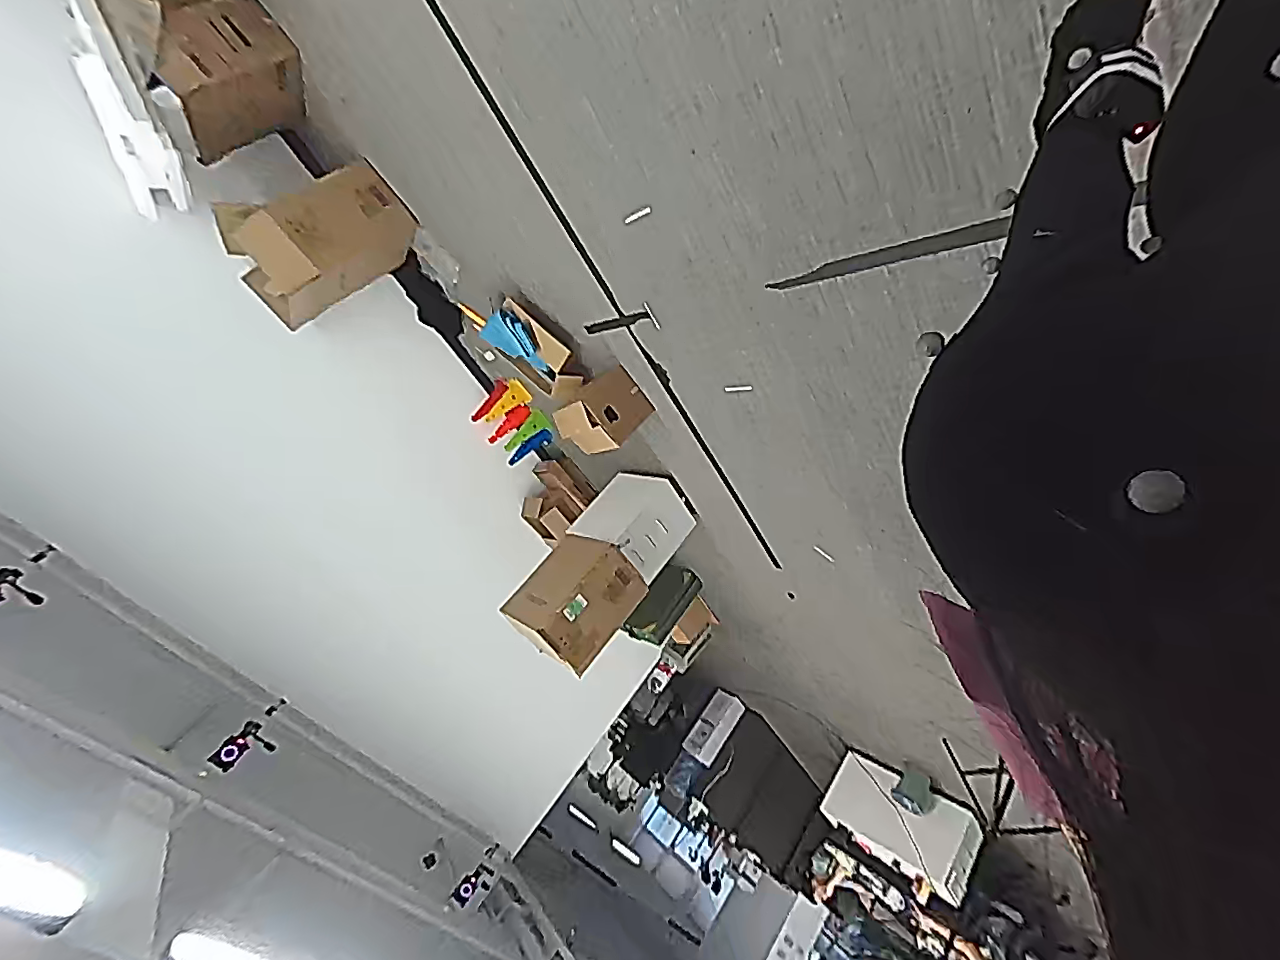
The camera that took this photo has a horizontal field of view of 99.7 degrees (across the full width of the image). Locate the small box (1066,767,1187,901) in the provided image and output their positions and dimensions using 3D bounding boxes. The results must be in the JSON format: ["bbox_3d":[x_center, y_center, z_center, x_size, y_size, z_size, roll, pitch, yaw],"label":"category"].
[{"bbox_3d":[1.148,0.823,1.273,0.179,0.176,0.168,53,154,-22],"label":"small box"}]
